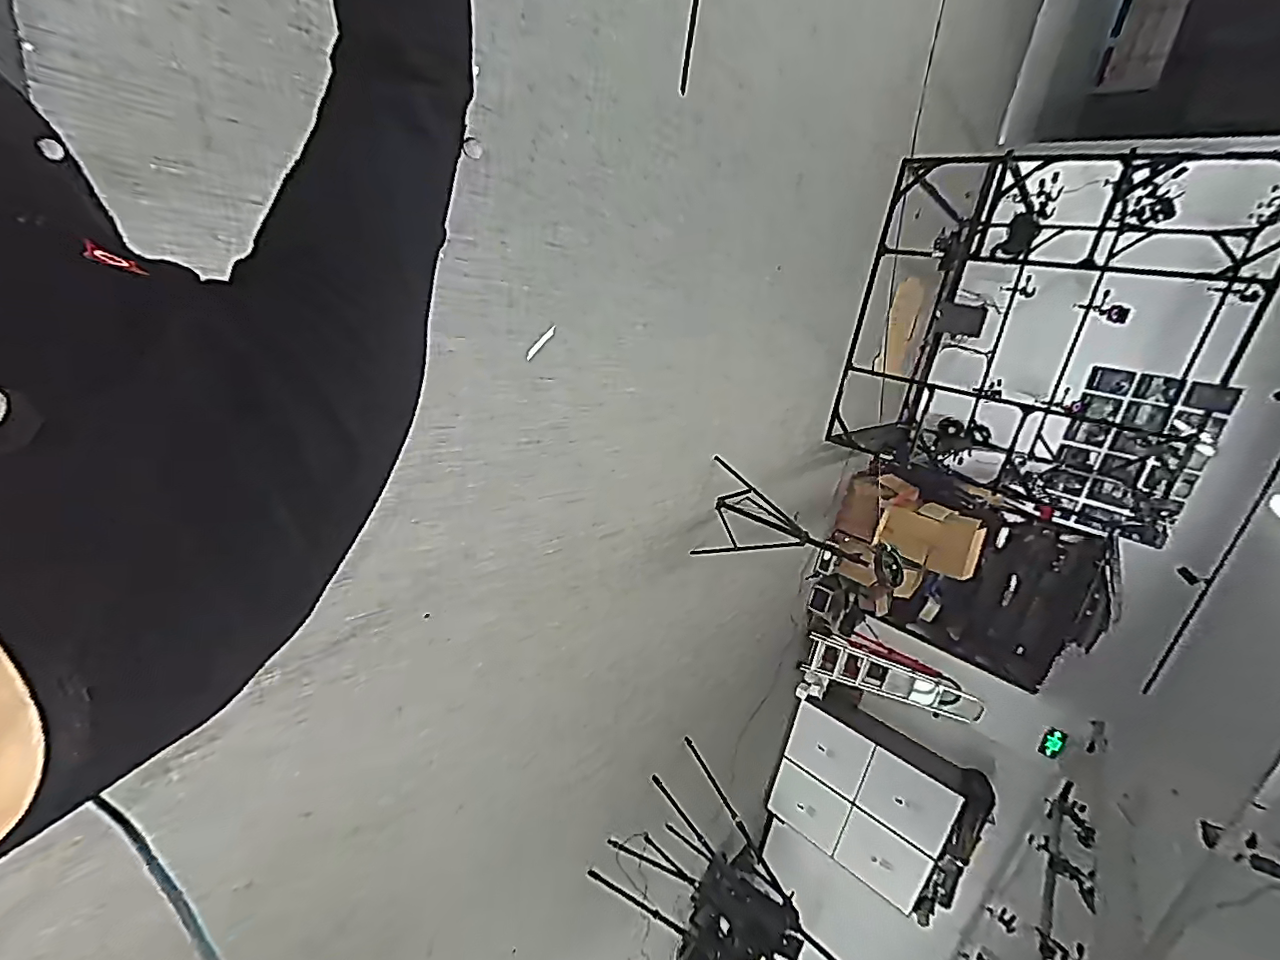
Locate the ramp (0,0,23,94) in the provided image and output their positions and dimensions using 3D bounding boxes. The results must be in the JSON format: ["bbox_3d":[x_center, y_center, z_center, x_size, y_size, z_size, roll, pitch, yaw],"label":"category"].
[{"bbox_3d":[-1.038,-1.022,0.509,0.509,0.206,0.991,-17,123,-49],"label":"ramp"}]
